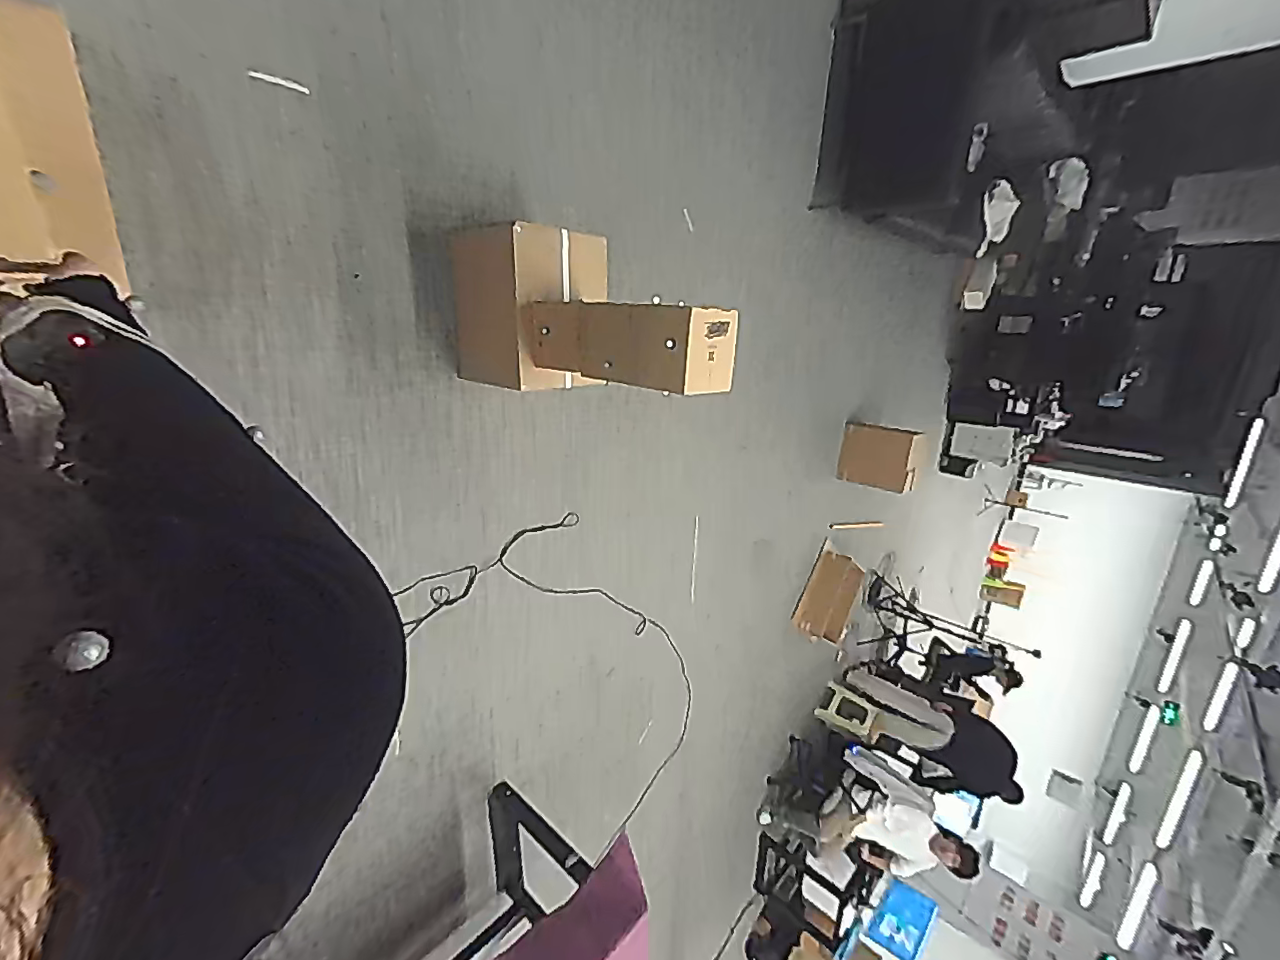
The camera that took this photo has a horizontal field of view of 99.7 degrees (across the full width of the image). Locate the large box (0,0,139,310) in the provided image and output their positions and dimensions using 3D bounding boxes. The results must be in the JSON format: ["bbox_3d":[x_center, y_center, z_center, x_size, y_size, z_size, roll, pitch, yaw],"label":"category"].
[{"bbox_3d":[-0.998,-0.458,0.784,0.320,0.320,0.408,-17,115,-45],"label":"large box"}]

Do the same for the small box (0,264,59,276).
[{"bbox_3d":[-0.835,-0.332,0.636,0.179,0.176,0.168,-18,115,-43],"label":"small box"}]

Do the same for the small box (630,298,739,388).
[{"bbox_3d":[0.094,-0.303,1.188,0.168,0.176,0.179,-14,115,-44],"label":"small box"}]

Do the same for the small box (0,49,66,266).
[{"bbox_3d":[-0.594,-0.263,0.423,0.168,0.176,0.179,-21,118,-43],"label":"small box"}]

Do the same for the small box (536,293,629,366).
[{"bbox_3d":[-0.148,-0.392,1.393,0.179,0.176,0.168,-18,116,-43],"label":"small box"}]
